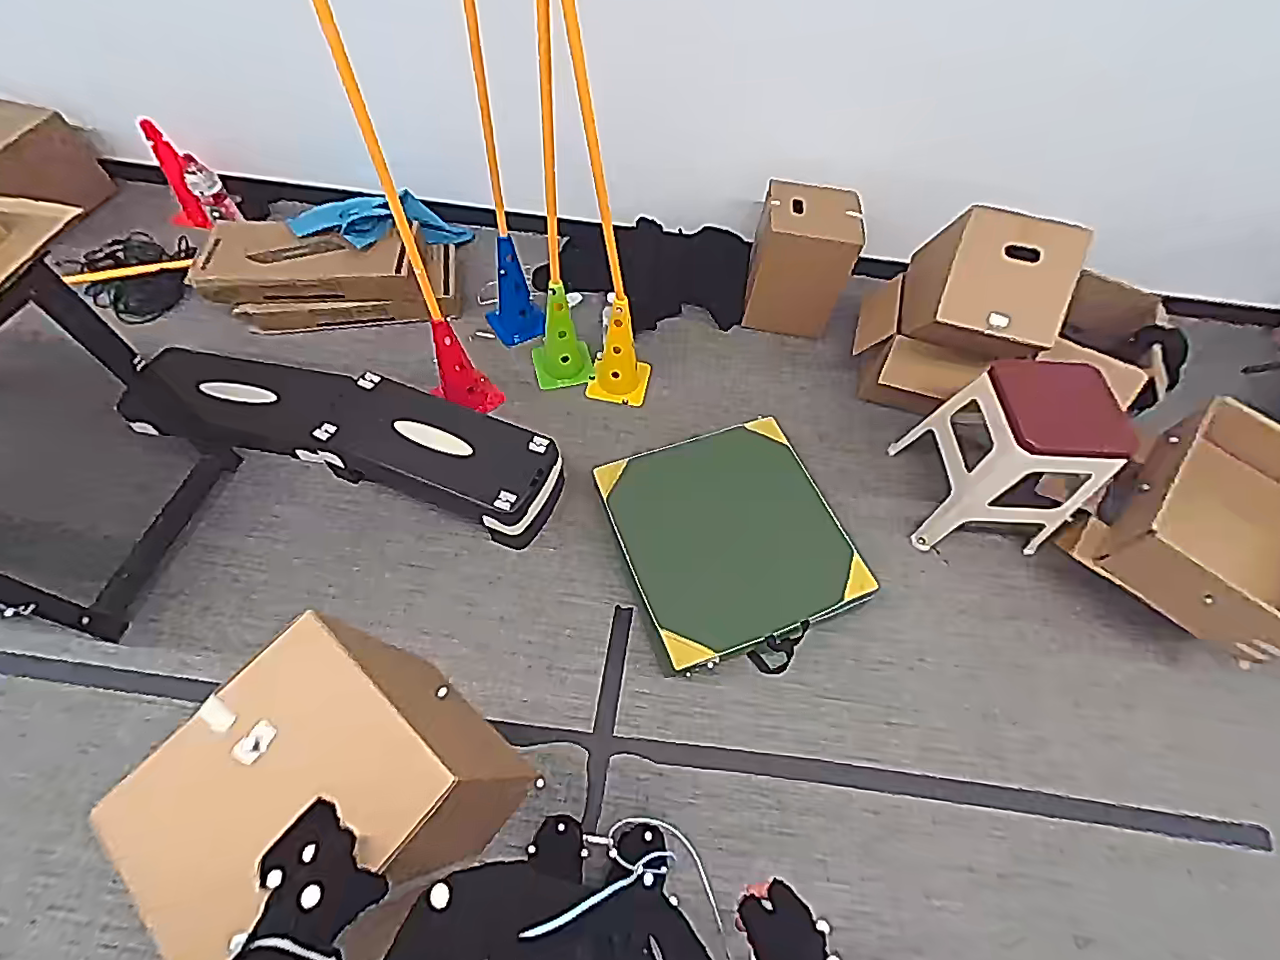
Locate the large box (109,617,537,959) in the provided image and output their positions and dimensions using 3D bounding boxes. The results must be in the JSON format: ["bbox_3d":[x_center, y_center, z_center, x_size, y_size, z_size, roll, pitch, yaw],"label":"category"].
[{"bbox_3d":[-0.412,0.453,0.805,0.320,0.408,0.320,39,72,21],"label":"large box"}]
